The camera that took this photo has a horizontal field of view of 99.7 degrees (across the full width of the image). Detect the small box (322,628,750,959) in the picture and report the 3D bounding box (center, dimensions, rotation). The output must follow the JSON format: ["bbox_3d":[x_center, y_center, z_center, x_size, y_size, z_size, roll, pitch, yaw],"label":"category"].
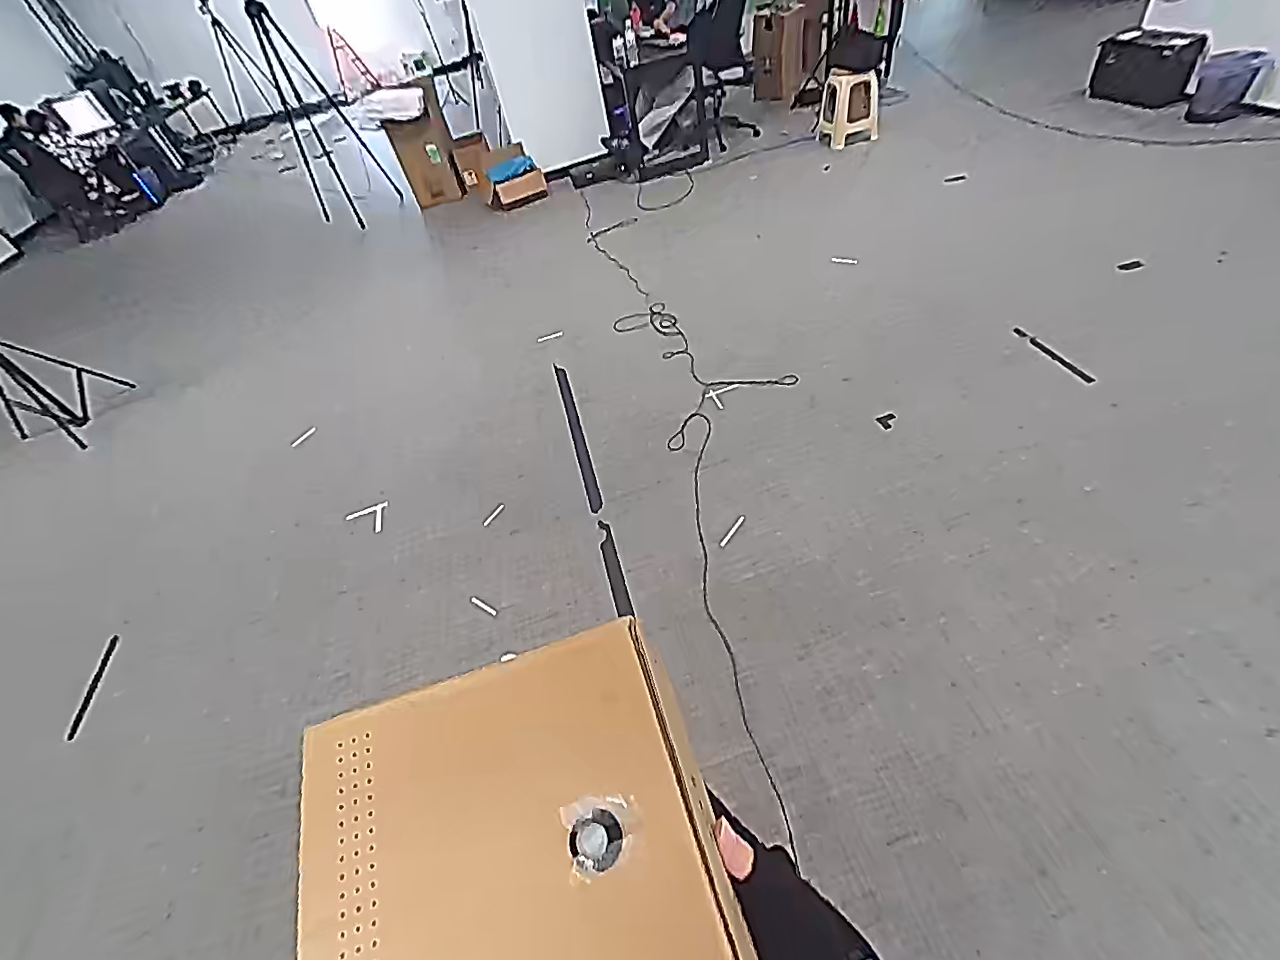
[{"bbox_3d":[-0.047,0.209,0.292,0.176,0.168,0.179,-19,58,-1],"label":"small box"}]
